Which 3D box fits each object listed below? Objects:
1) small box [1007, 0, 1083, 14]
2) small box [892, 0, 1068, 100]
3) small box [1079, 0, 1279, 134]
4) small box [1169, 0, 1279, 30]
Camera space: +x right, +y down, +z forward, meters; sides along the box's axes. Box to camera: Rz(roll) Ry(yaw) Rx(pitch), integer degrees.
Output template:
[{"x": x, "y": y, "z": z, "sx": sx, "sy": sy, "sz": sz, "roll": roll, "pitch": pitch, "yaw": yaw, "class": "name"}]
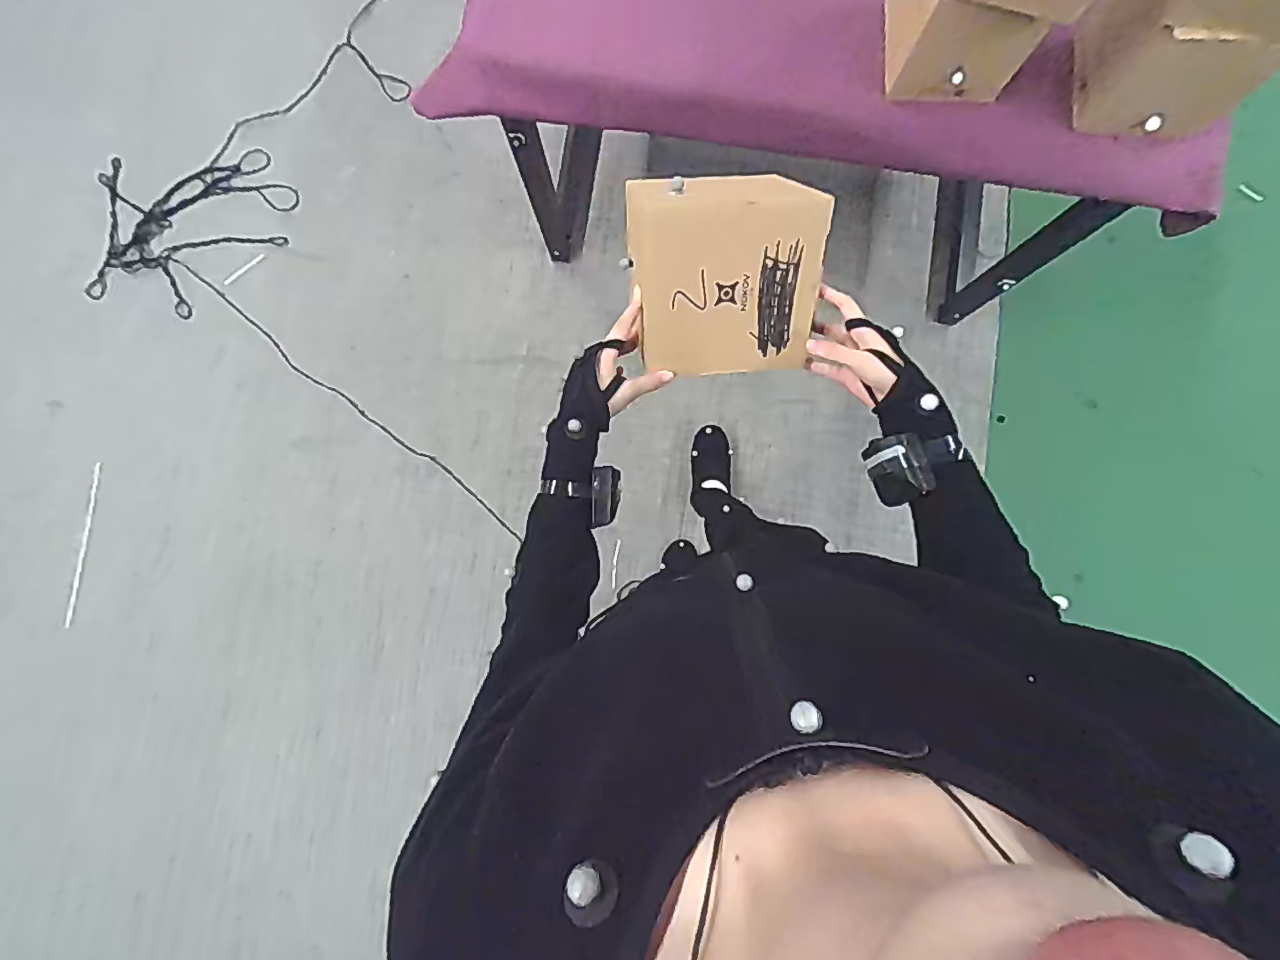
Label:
[{"x": 0.478, "y": -0.670, "z": 0.593, "sx": 0.179, "sy": 0.176, "sz": 0.168, "roll": 17, "pitch": 85, "yaw": 4, "class": "small box"}, {"x": 0.471, "y": -0.681, "z": 0.759, "sx": 0.168, "sy": 0.176, "sz": 0.179, "roll": 3, "pitch": 85, "yaw": 2, "class": "small box"}, {"x": 0.760, "y": -0.612, "z": 0.744, "sx": 0.179, "sy": 0.176, "sz": 0.168, "roll": 5, "pitch": 85, "yaw": 3, "class": "small box"}, {"x": 0.744, "y": -0.635, "z": 0.582, "sx": 0.179, "sy": 0.176, "sz": 0.168, "roll": 11, "pitch": 86, "yaw": 4, "class": "small box"}]
